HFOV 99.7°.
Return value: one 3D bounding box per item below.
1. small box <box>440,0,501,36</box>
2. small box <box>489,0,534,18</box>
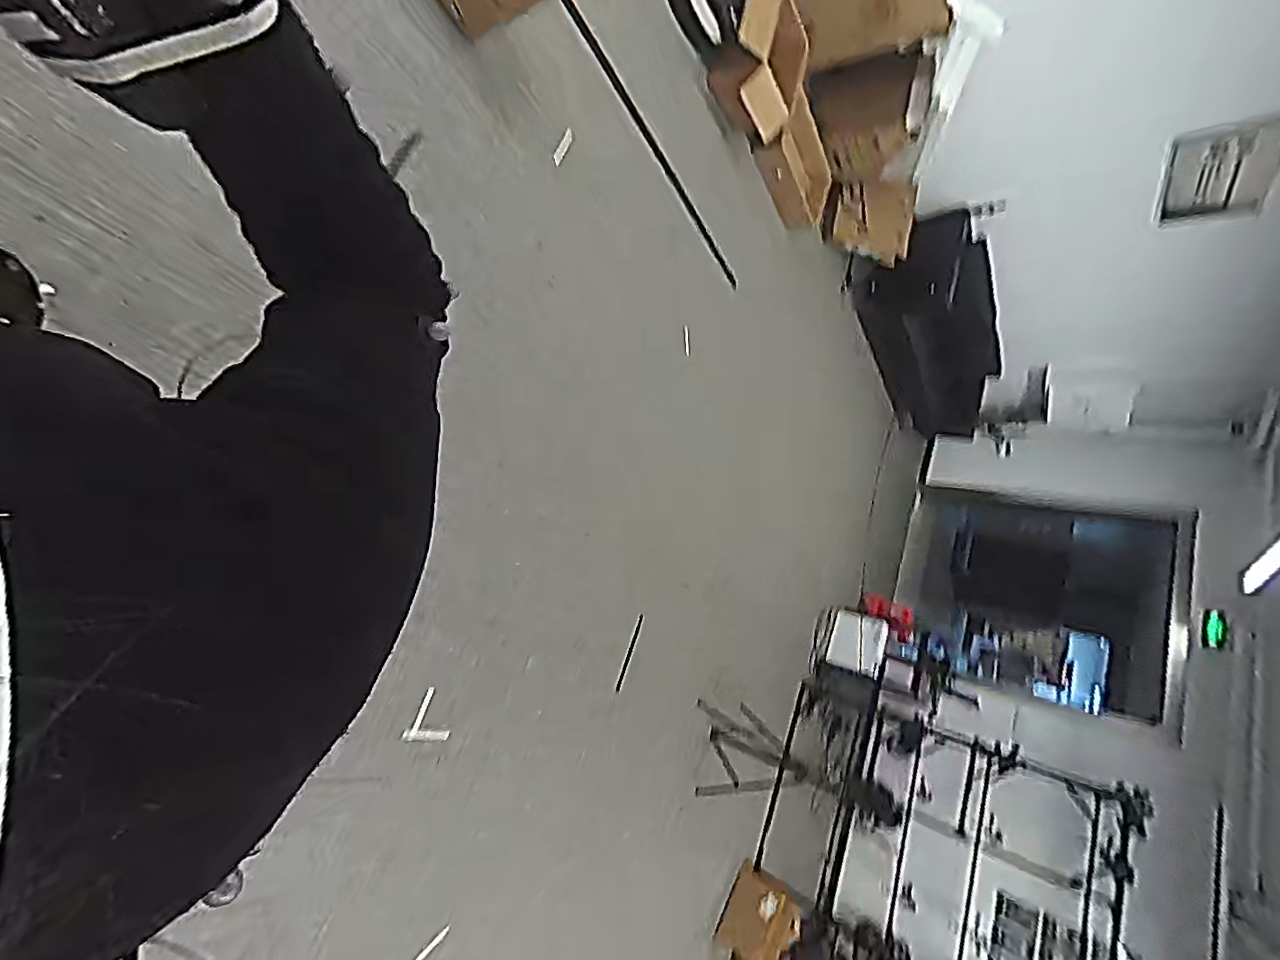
[{"bbox_3d":[-0.462,-1.413,1.521,0.168,0.176,0.179,38,69,-47],"label":"small box"},{"bbox_3d":[-0.332,-1.384,1.422,0.168,0.176,0.179,38,67,-47],"label":"small box"}]
